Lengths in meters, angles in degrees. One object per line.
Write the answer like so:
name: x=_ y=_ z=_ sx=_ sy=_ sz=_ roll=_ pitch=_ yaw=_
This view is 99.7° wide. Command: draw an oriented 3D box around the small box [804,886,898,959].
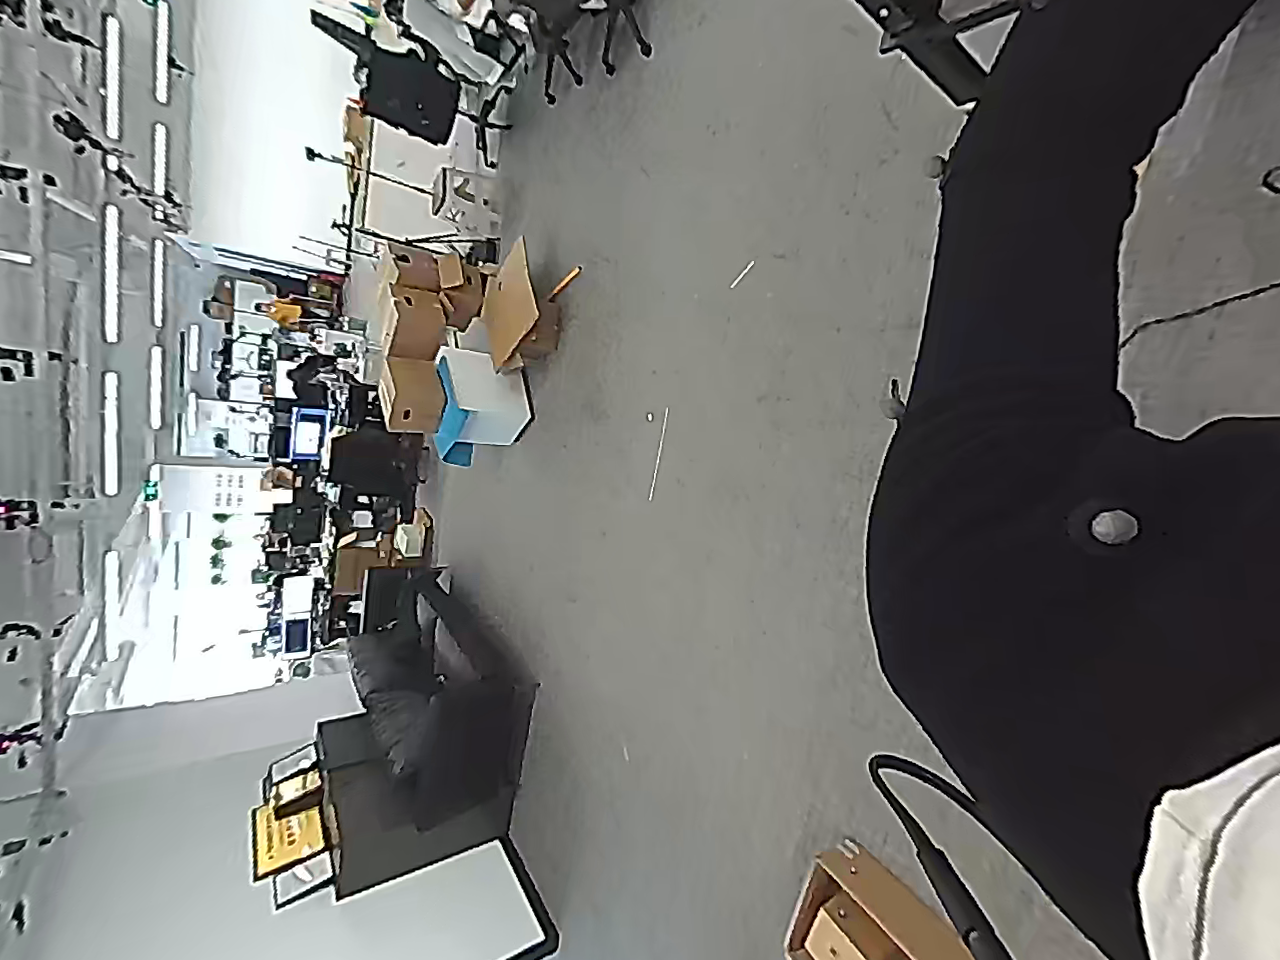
small box: x=0.645 y=1.391 z=1.652 sx=0.179 sy=0.176 sz=0.168 roll=33 pitch=114 yaw=48
